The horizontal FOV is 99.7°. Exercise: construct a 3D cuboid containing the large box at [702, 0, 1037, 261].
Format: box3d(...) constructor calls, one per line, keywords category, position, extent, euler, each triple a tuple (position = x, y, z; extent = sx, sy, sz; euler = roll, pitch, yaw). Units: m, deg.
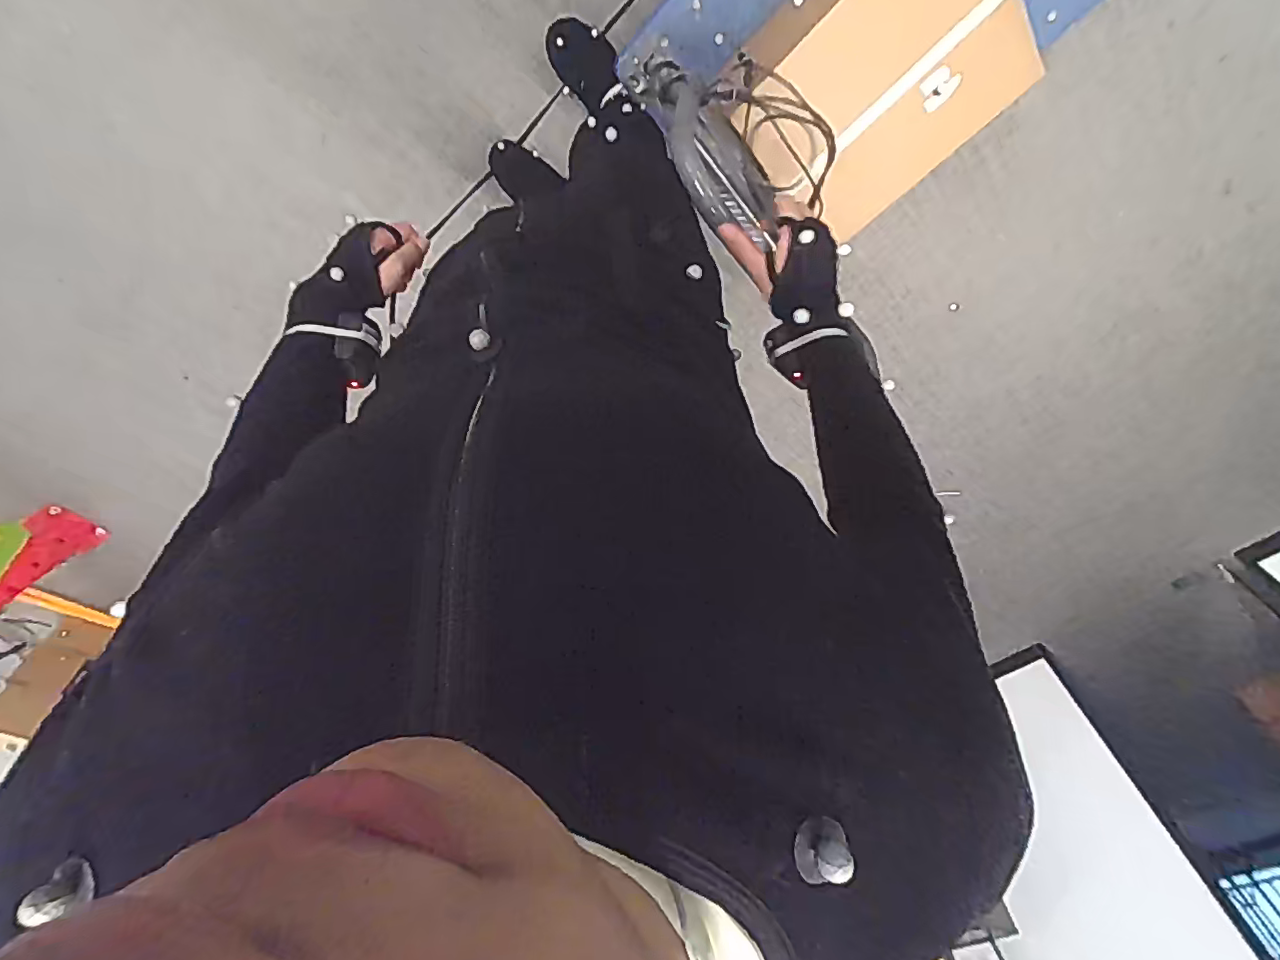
box3d(category="large box", position=(0.375, -0.692, 0.976), extent=(0.408, 0.320, 0.320), euler=(-38, 124, 23))
